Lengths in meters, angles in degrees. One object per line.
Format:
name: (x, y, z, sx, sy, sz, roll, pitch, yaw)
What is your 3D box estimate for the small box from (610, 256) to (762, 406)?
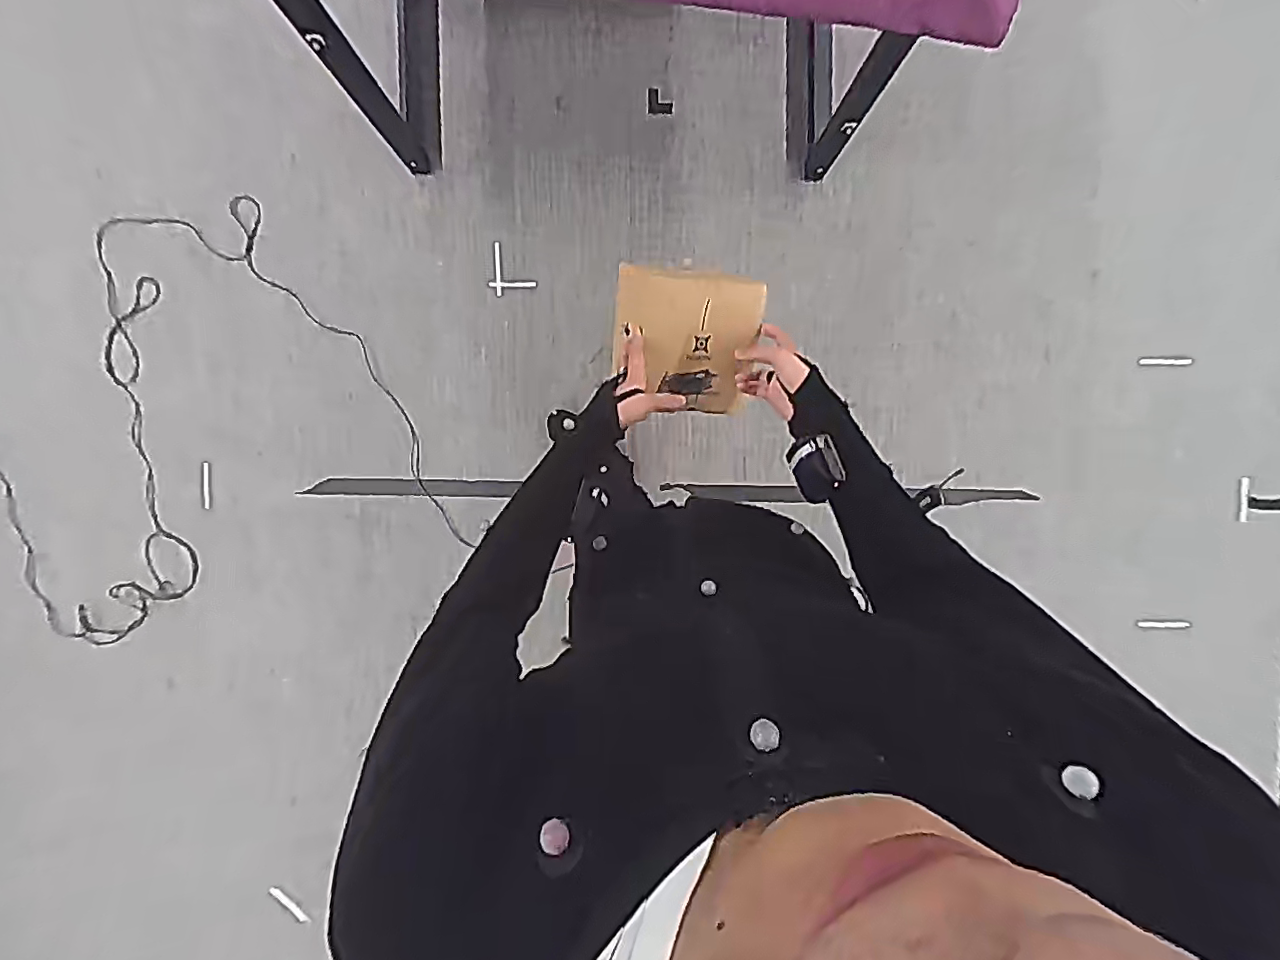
small box: (0.053, -0.218, 0.782, 0.168, 0.176, 0.179, -1, 117, -14)
